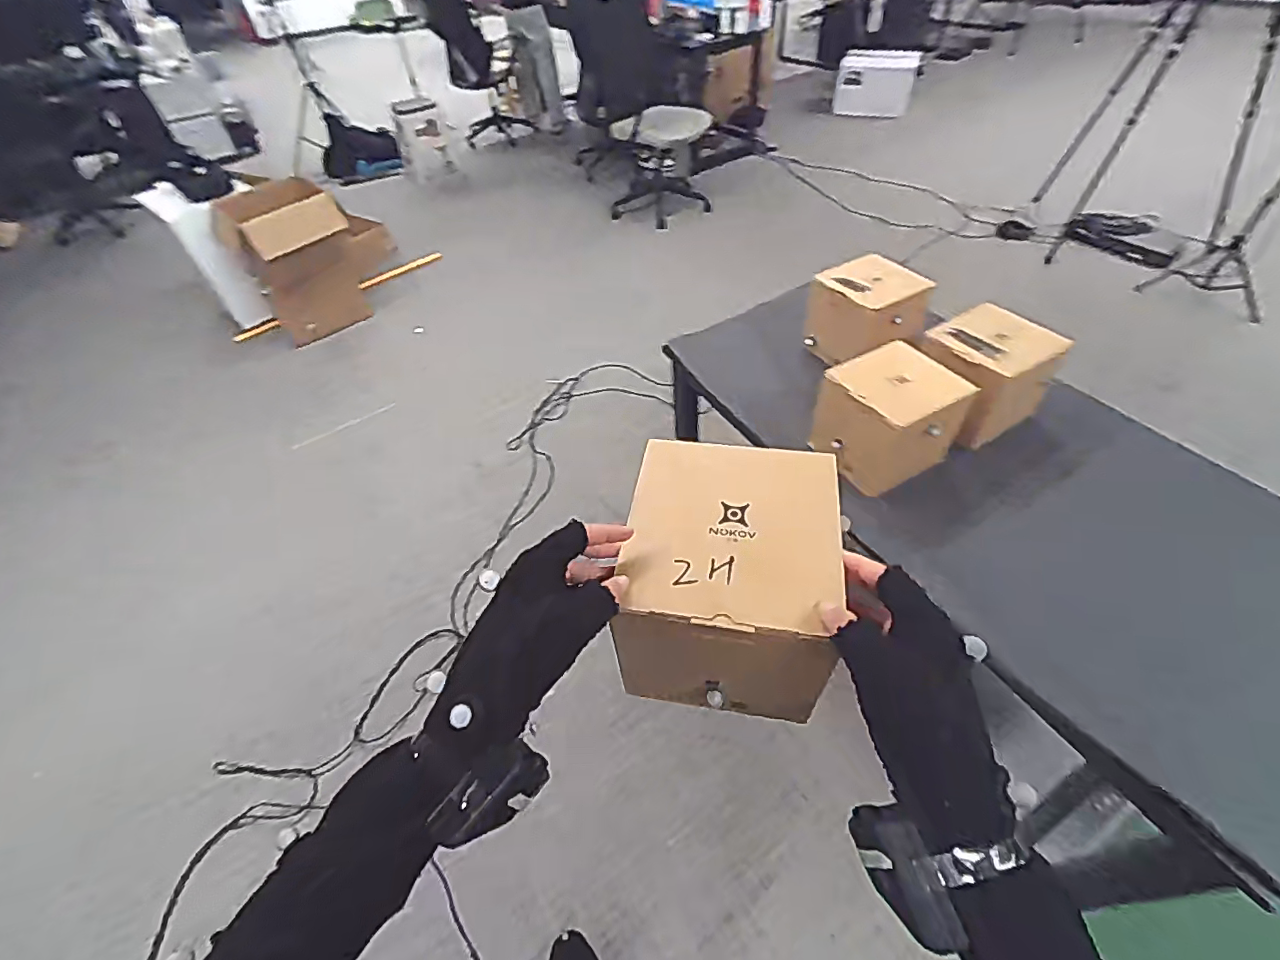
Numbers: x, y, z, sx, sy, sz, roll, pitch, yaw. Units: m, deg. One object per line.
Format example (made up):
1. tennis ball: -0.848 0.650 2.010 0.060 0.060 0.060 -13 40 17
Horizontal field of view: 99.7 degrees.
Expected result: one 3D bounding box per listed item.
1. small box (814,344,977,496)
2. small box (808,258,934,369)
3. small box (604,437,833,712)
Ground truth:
1. small box: 0.433 -0.104 0.949 0.179 0.176 0.168 -24 51 -17
2. small box: 0.482 -0.344 1.159 0.179 0.176 0.168 -25 51 -17
3. small box: 0.072 0.084 0.492 0.168 0.176 0.179 5 49 10
